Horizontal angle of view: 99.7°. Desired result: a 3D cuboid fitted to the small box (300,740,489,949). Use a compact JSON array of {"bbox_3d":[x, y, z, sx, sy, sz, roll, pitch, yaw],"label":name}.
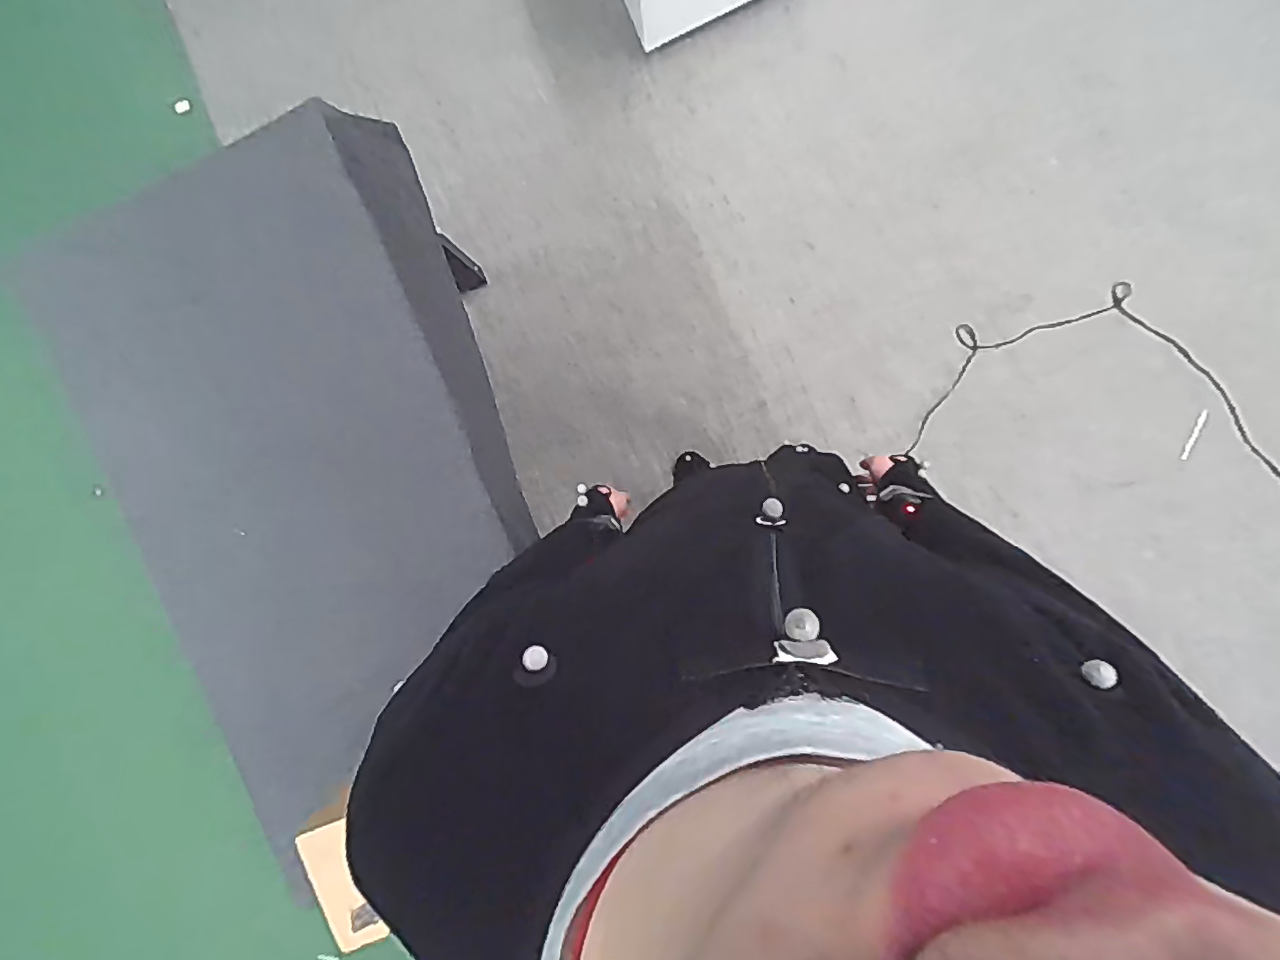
[{"bbox_3d":[-0.355,0.535,0.816,0.168,0.176,0.179,-23,90,5],"label":"small box"}]
